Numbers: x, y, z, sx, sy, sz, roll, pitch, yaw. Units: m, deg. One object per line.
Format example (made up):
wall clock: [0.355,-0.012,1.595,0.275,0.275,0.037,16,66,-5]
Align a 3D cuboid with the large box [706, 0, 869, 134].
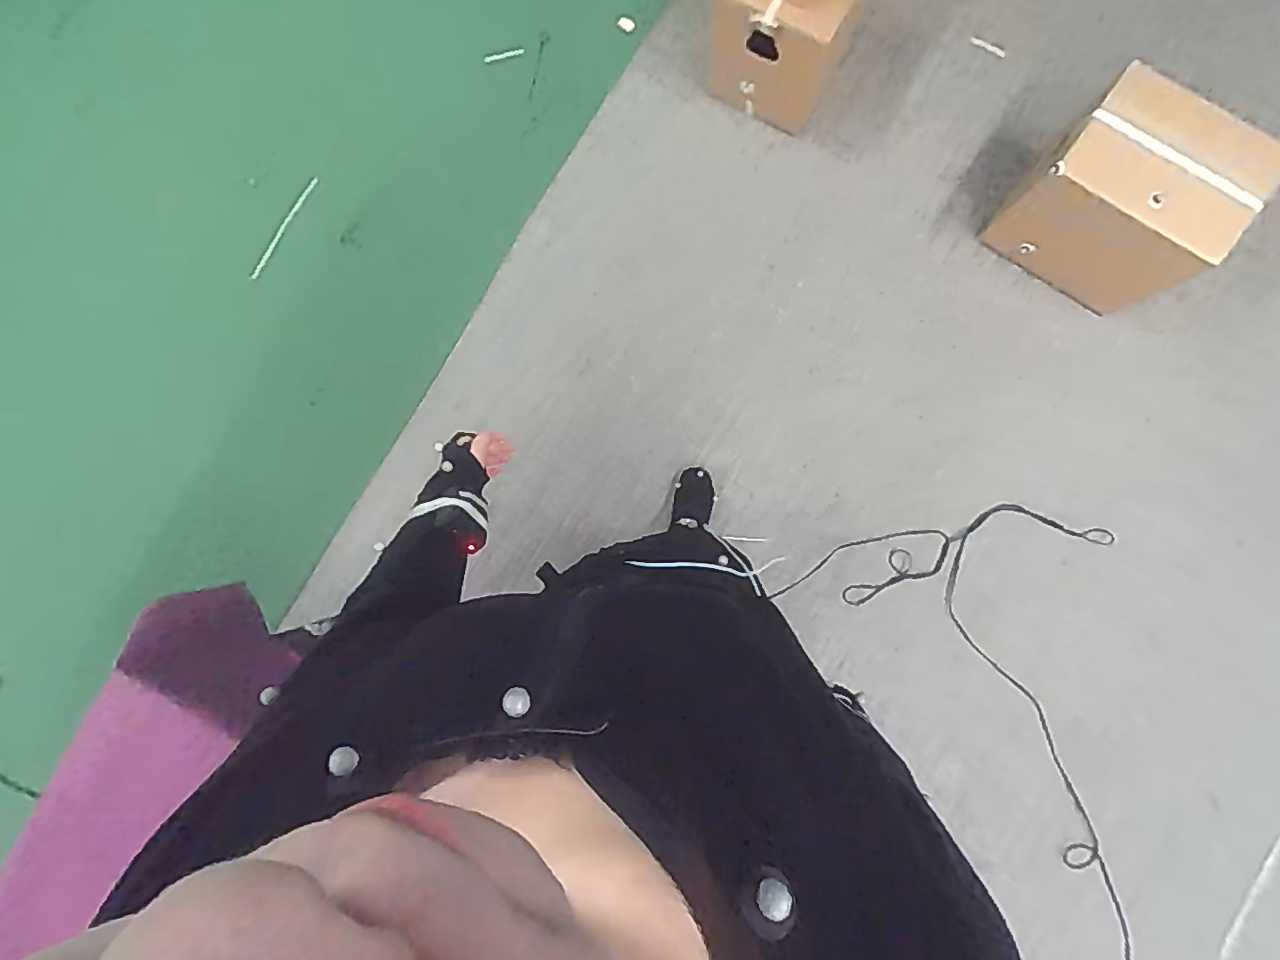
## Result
large box: [0.403,-1.236,1.422,0.320,0.320,0.408,30,87,5]
